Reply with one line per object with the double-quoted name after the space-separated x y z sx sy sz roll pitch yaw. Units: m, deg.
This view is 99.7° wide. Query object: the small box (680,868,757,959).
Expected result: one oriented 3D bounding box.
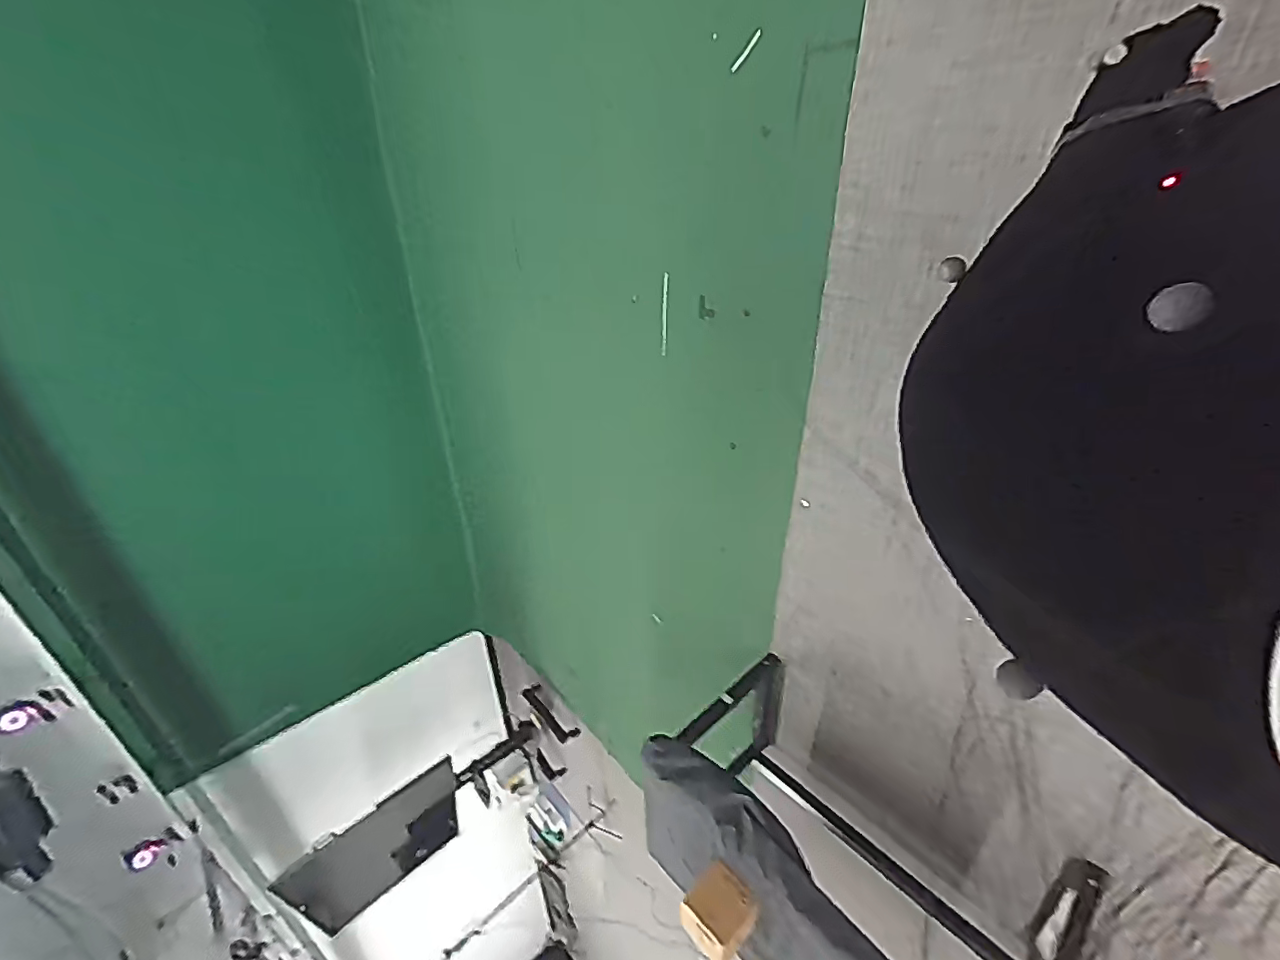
0.241 1.348 1.656 0.168 0.176 0.179 28 132 40 "small box"
